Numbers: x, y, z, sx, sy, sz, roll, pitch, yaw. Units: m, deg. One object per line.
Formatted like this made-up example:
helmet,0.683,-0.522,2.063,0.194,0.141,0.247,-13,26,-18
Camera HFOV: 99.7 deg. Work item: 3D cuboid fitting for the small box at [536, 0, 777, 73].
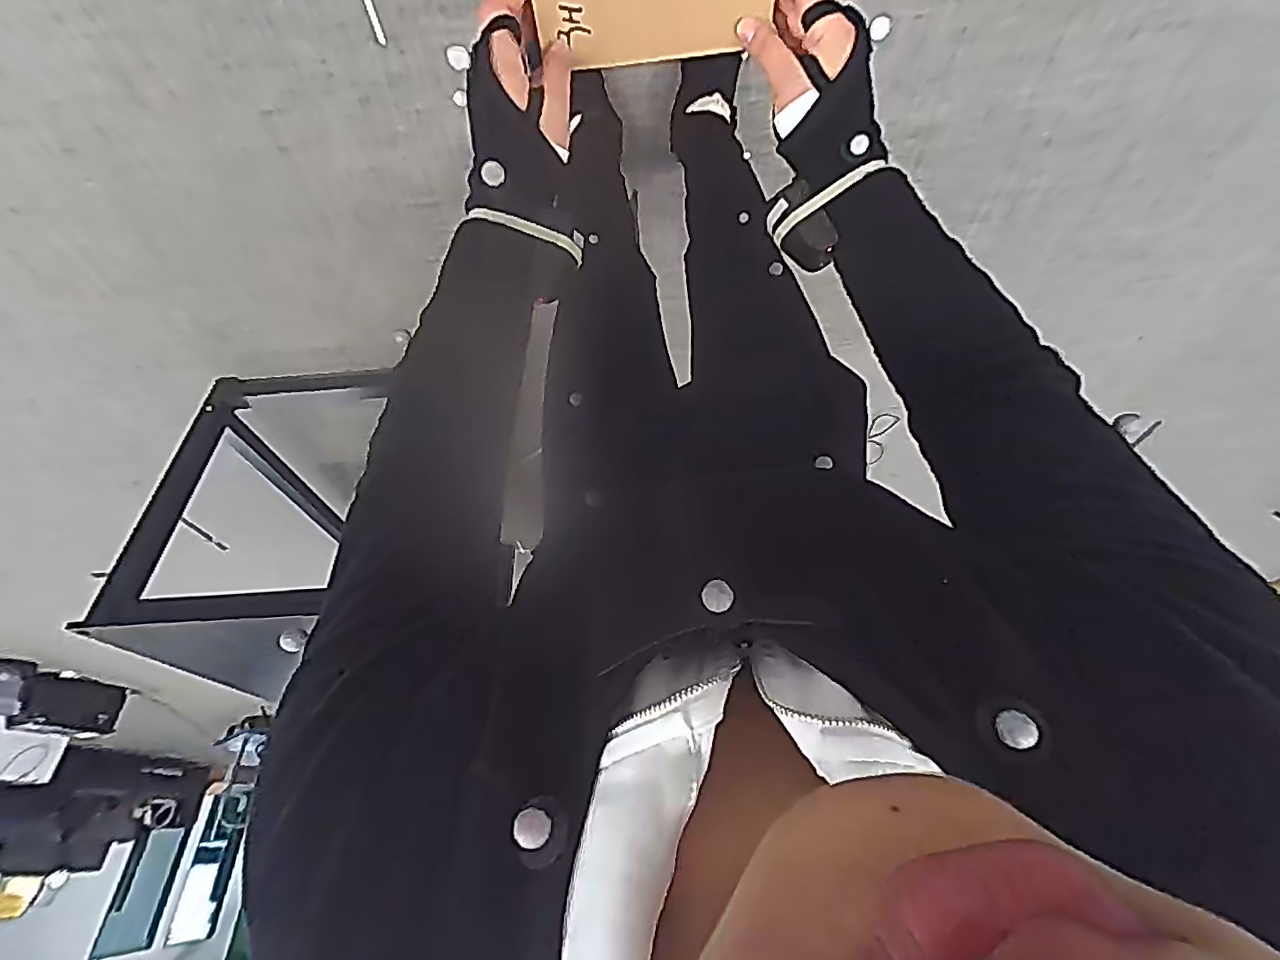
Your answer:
small box,0.003,-0.432,0.386,0.179,0.176,0.168,-6,150,0
